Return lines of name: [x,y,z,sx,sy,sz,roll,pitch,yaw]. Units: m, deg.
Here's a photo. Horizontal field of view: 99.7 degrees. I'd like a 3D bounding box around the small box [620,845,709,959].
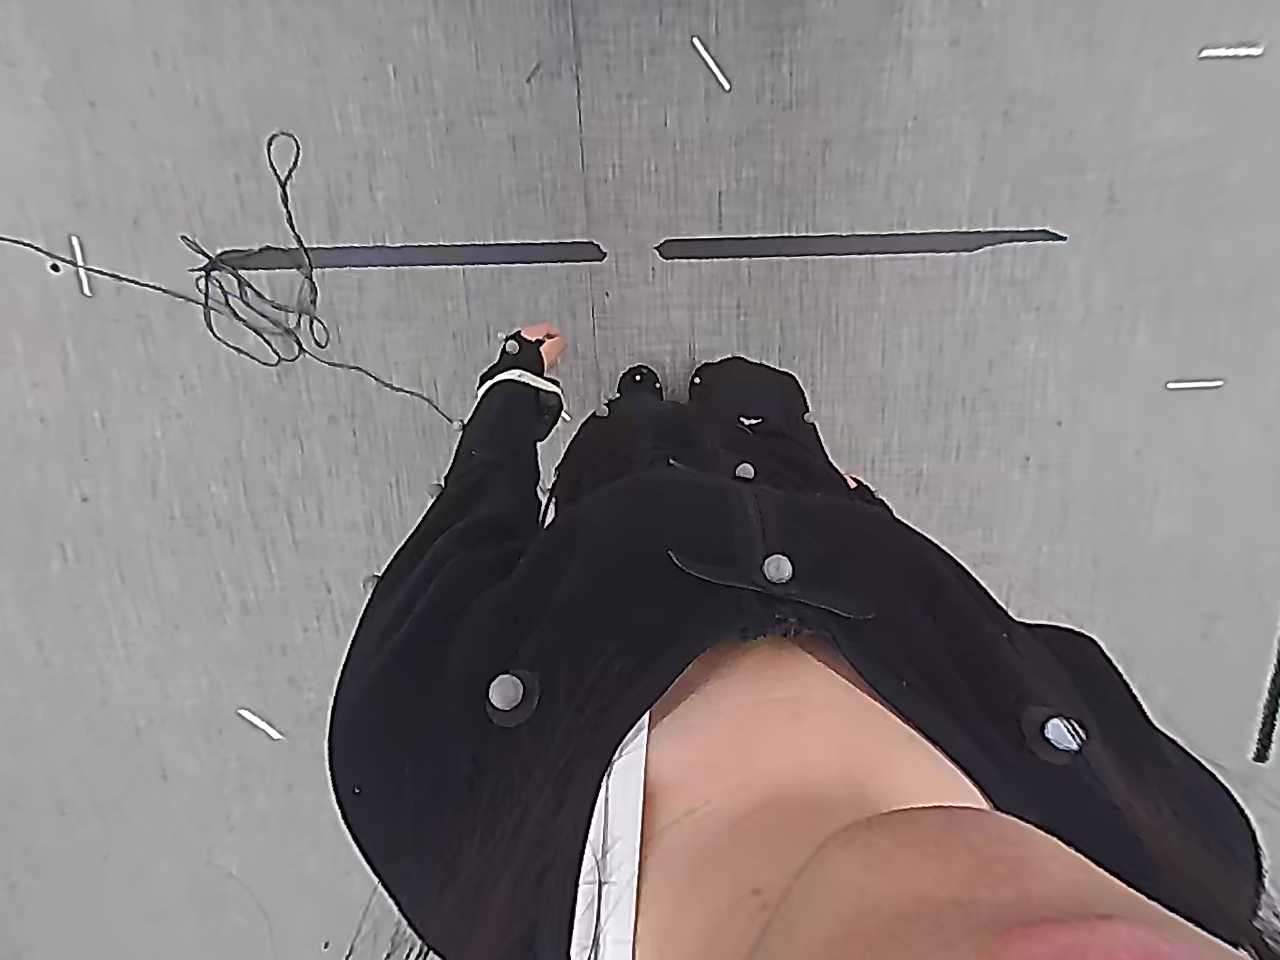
small box: [0.044,0.895,1.121,0.168,0.176,0.179,2,101,-2]
